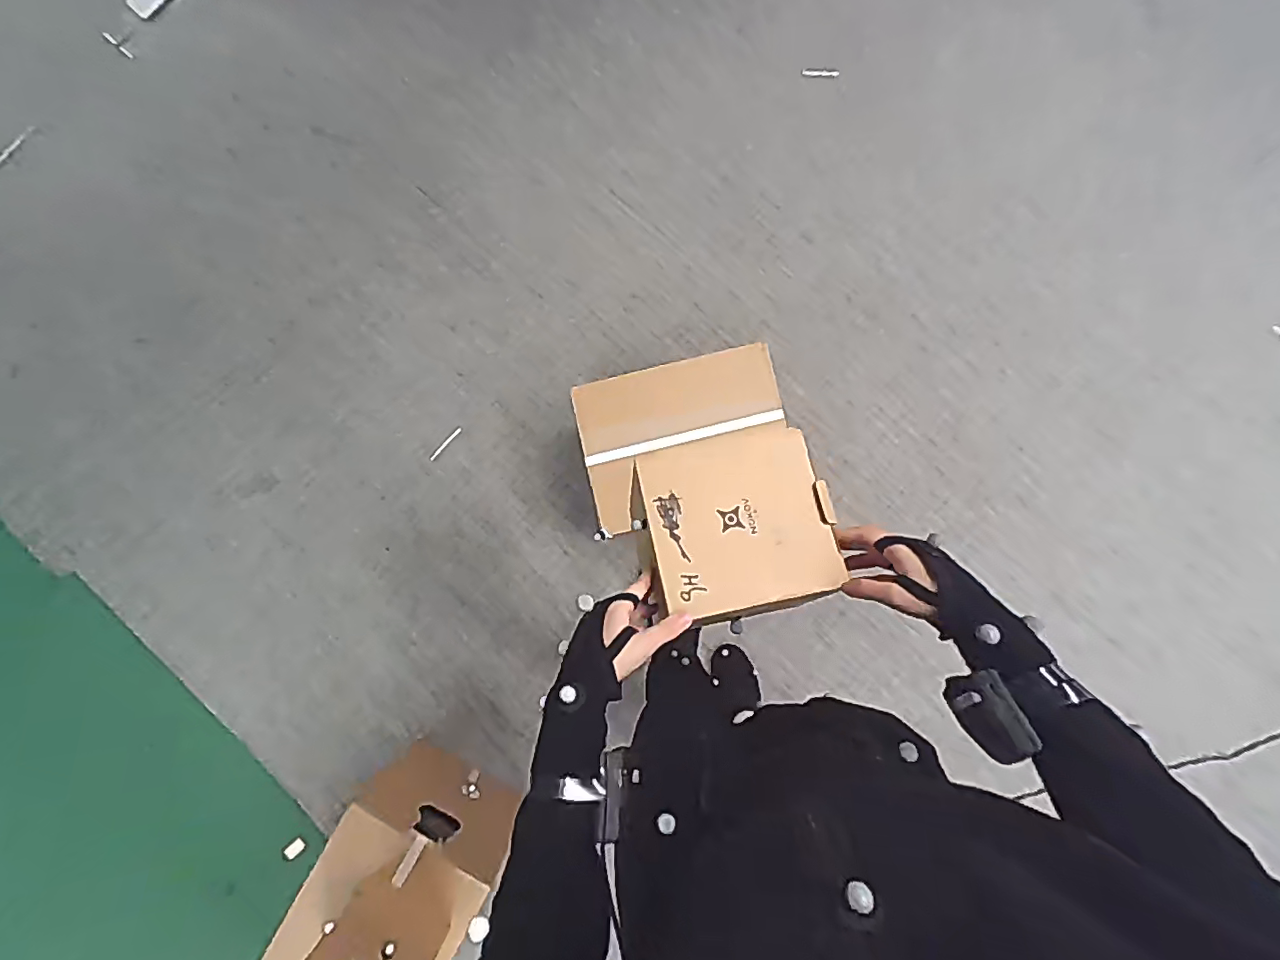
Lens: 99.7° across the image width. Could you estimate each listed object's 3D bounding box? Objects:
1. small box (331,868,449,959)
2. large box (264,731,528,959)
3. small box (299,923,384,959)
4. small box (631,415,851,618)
[{"bbox_3d":[-0.457,0.811,0.910,0.179,0.176,0.168,34,86,3],"label":"small box"},{"bbox_3d":[-0.492,0.839,1.155,0.320,0.320,0.408,28,88,4],"label":"large box"},{"bbox_3d":[-0.463,0.791,0.750,0.168,0.176,0.179,35,86,3],"label":"small box"},{"bbox_3d":[0.092,0.048,0.589,0.179,0.176,0.168,-10,71,-7],"label":"small box"}]
